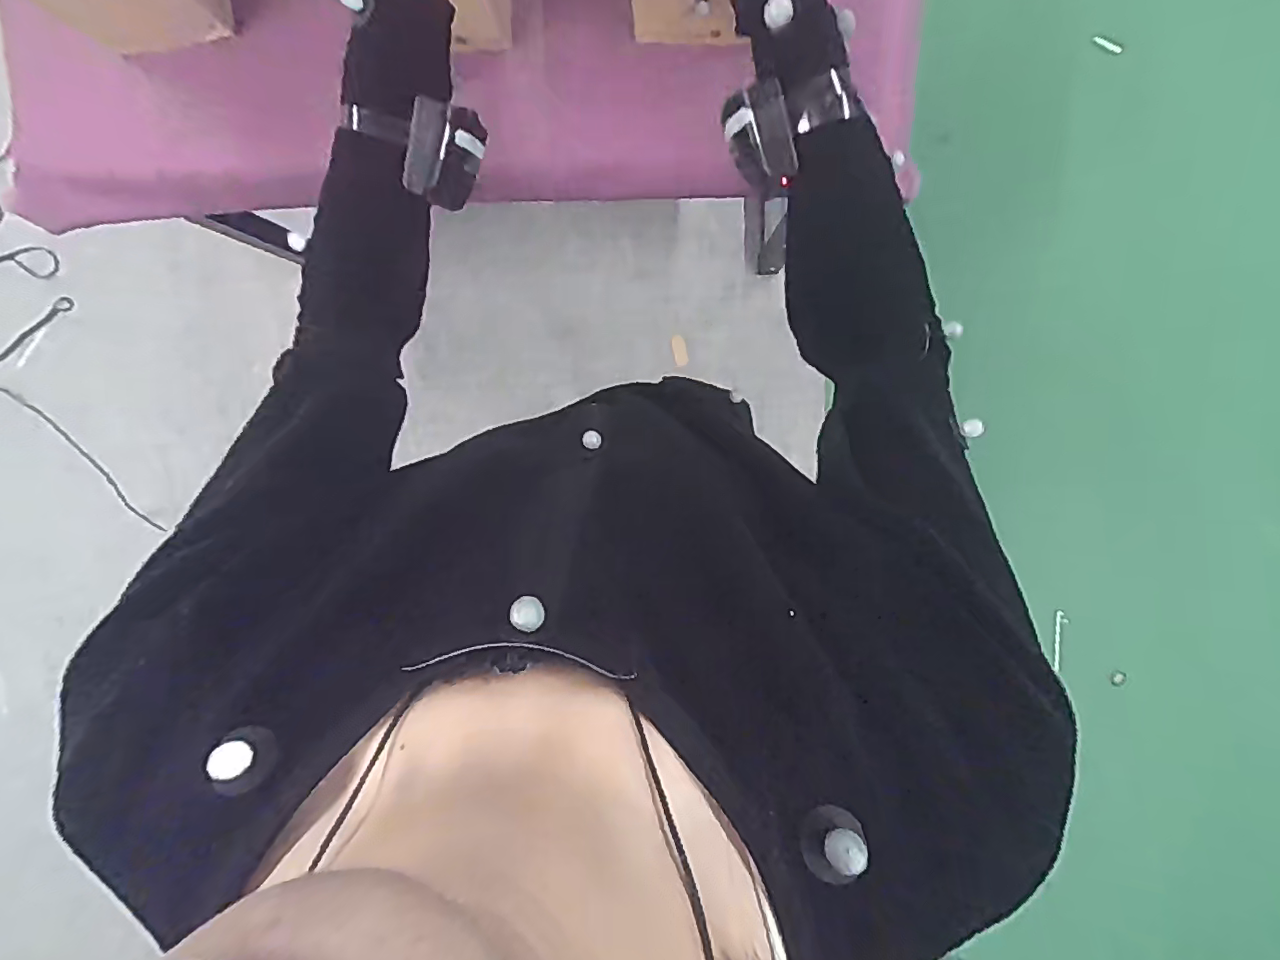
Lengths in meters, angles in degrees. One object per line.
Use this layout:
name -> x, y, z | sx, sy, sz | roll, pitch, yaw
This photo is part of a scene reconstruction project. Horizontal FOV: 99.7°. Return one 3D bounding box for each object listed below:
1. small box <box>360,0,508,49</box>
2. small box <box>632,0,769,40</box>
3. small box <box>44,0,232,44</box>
small box -> -0.252, -0.640, 0.614 | 0.168, 0.176, 0.179 | 1, 98, 2
small box -> 0.074, -0.637, 0.604 | 0.168, 0.176, 0.179 | 3, 98, 2
small box -> -0.630, -0.648, 0.625 | 0.179, 0.176, 0.168 | -5, 98, 2
